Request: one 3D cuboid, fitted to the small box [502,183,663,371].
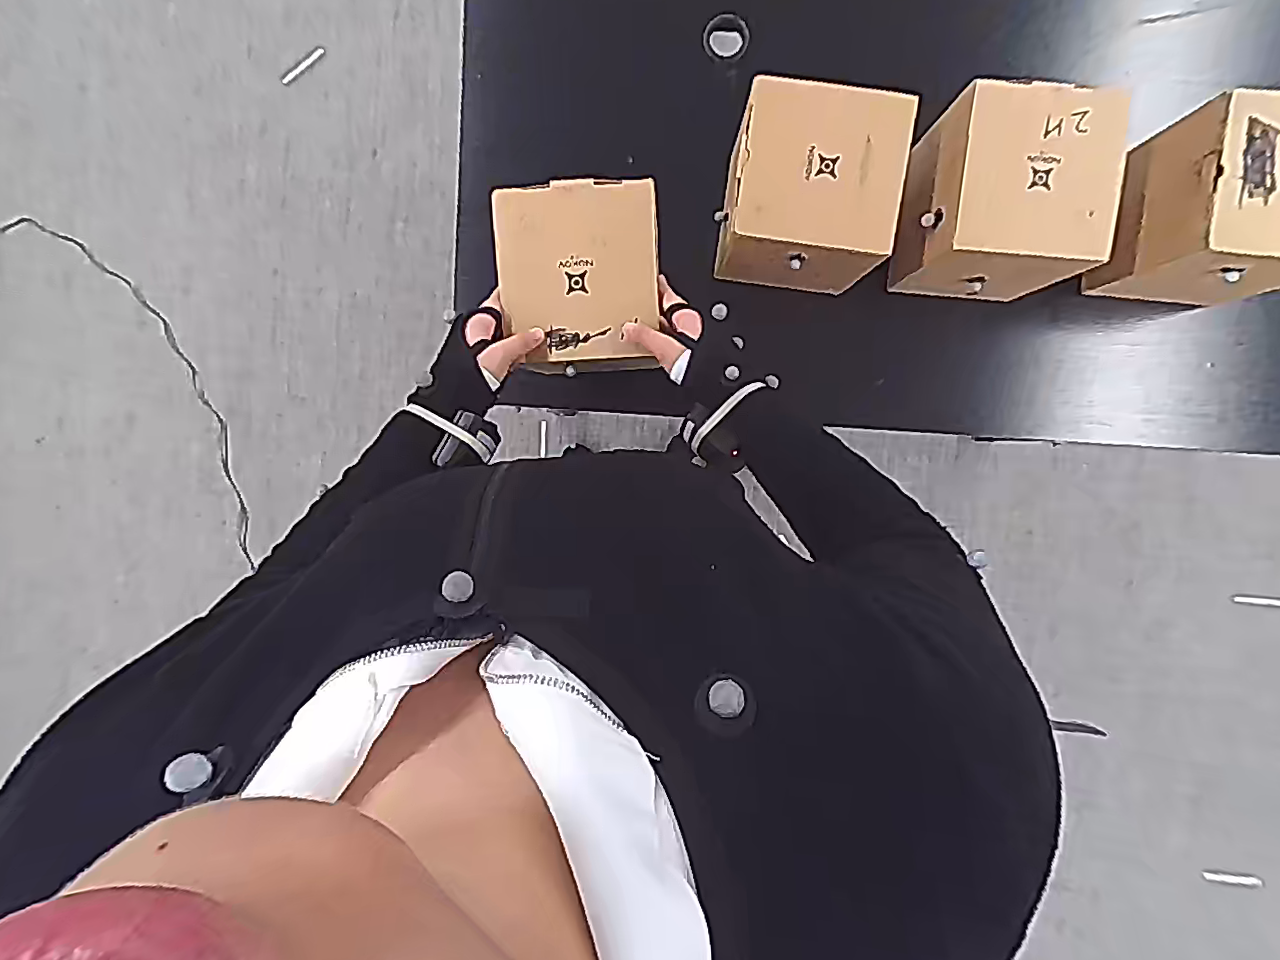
[{"bbox_3d":[-0.057,-0.226,0.644,0.168,0.176,0.179,-2,98,4],"label":"small box"}]

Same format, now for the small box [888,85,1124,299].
[{"bbox_3d":[0.422,-0.331,0.656,0.168,0.176,0.179,6,94,1],"label":"small box"}]

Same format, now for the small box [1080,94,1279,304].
[{"bbox_3d":[0.683,-0.320,0.649,0.179,0.176,0.168,6,94,1],"label":"small box"}]
